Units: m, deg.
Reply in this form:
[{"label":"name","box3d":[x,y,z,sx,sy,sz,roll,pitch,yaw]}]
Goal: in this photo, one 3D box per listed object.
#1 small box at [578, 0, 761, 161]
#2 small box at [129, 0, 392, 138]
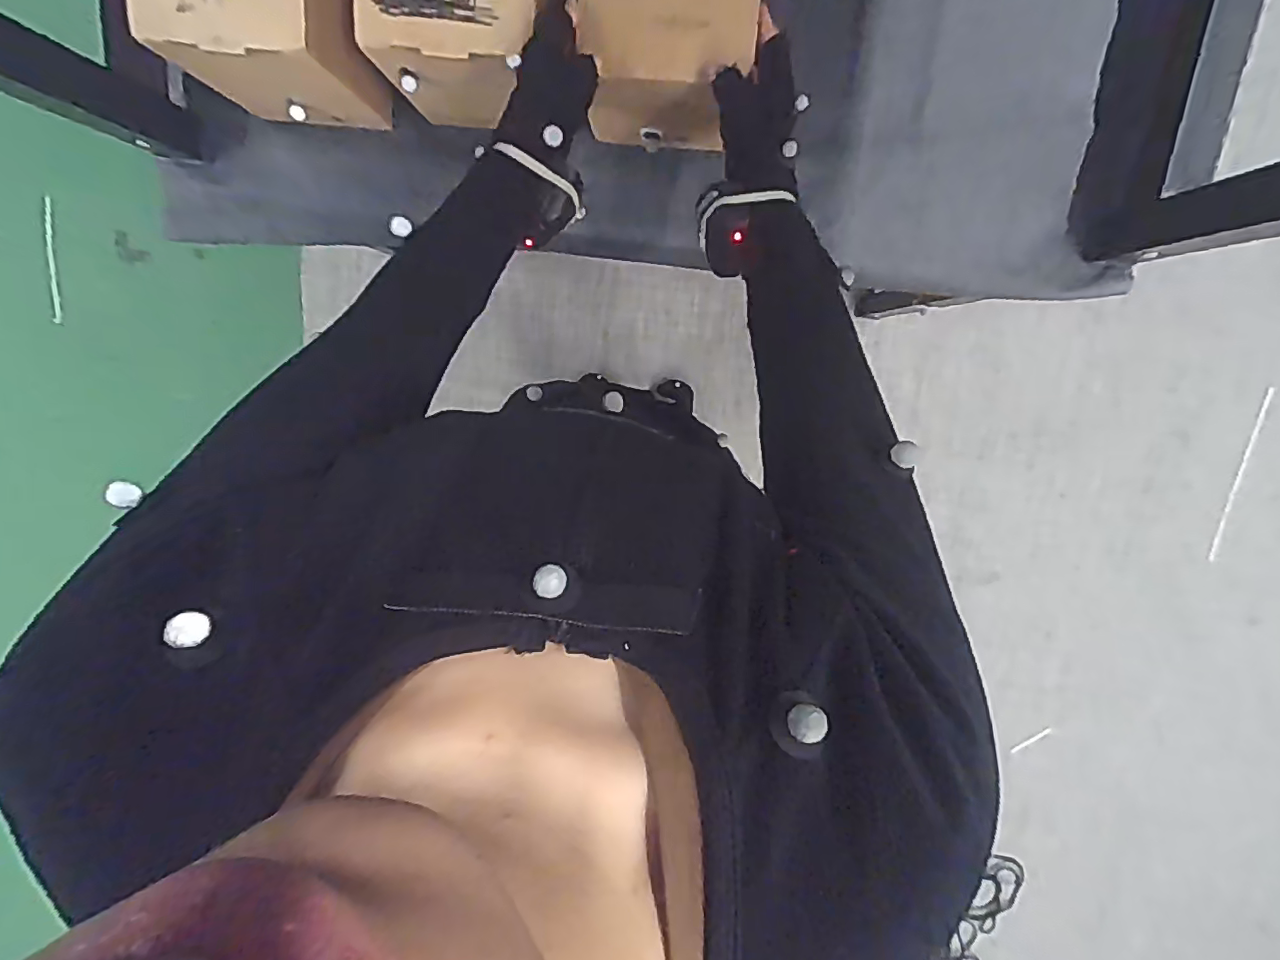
[{"label":"small box","box3d":[0.030,-0.462,0.562,0.168,0.176,0.179,3,103,2]},{"label":"small box","box3d":[-0.375,-0.491,0.560,0.168,0.176,0.179,5,102,0]}]
